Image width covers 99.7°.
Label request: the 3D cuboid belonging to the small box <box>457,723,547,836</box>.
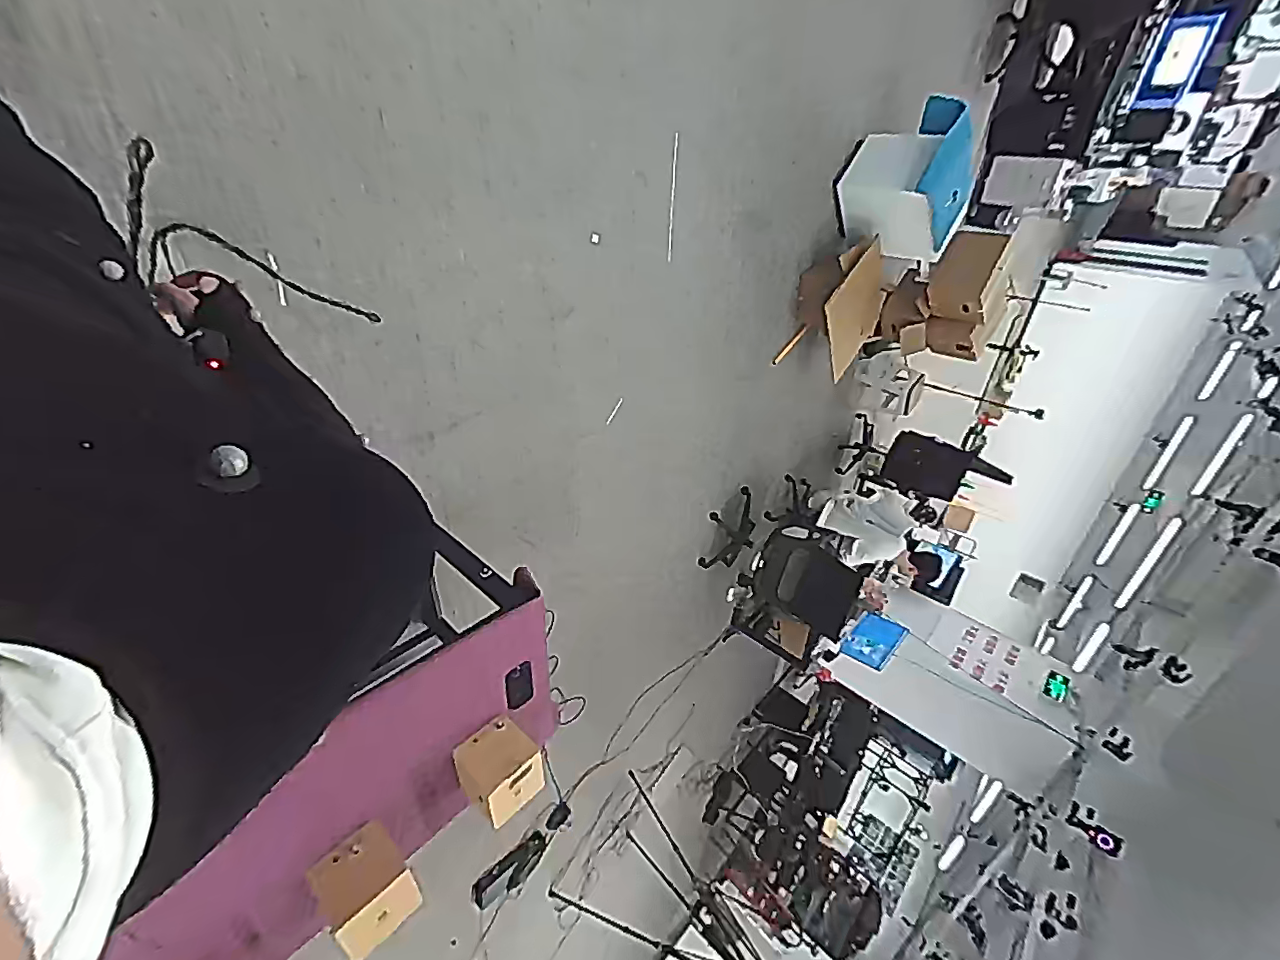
[{"bbox_3d":[-0.369,0.790,1.449,0.168,0.176,0.179,-29,133,-39],"label":"small box"}]

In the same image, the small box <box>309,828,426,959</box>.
[{"bbox_3d":[-0.619,0.947,1.233,0.168,0.176,0.179,-30,133,-40],"label":"small box"}]
